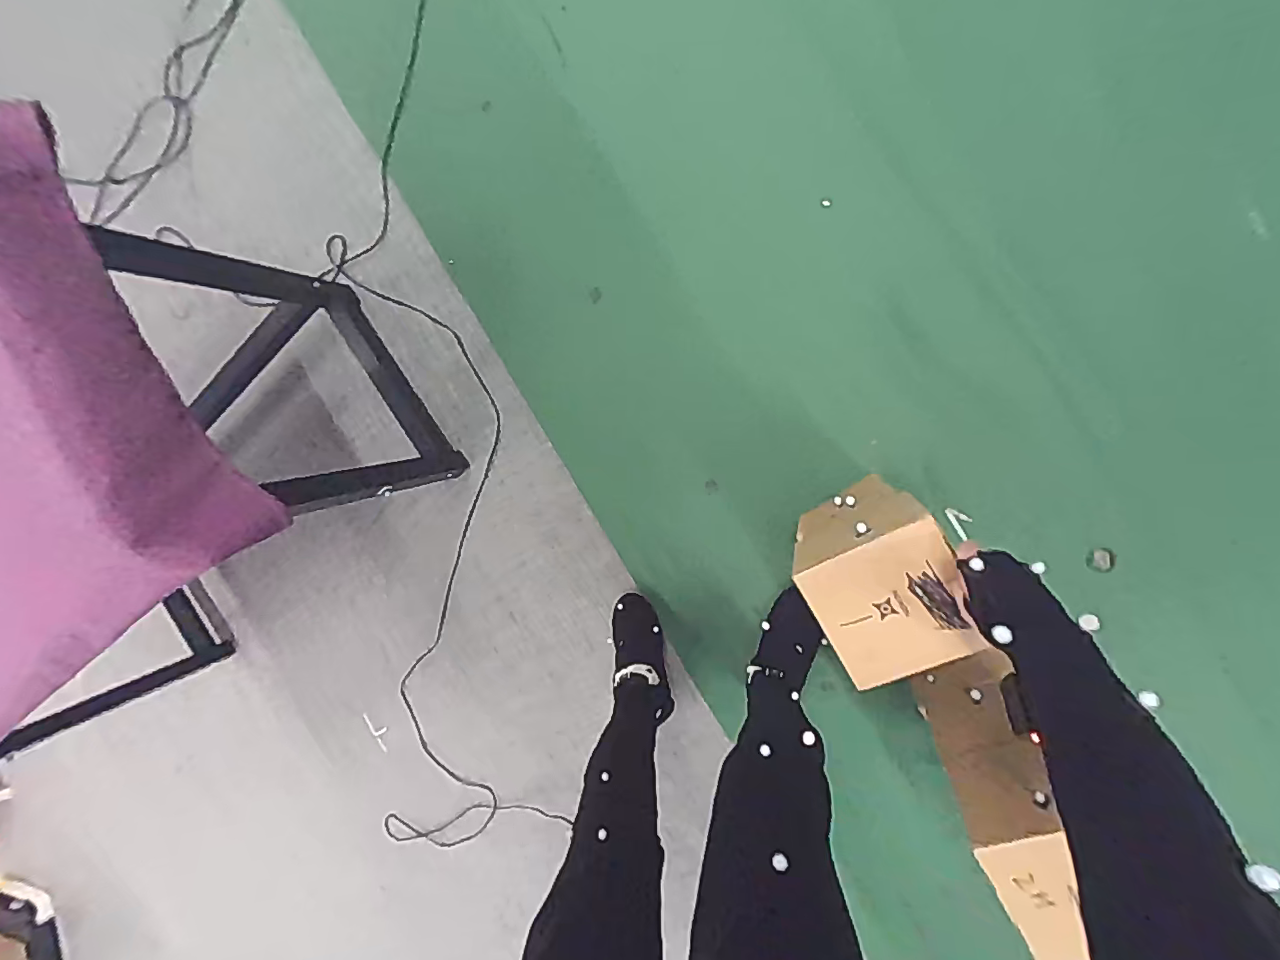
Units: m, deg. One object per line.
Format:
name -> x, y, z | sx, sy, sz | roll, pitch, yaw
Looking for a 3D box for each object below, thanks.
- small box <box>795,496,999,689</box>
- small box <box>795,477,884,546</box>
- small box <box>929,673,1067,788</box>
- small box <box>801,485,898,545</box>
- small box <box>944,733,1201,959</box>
small box -> 0.321, 0.136, 0.713 | 0.179, 0.176, 0.168 | -30, 88, 19
small box -> 0.416, 0.112, 1.025 | 0.179, 0.176, 0.168 | -34, 87, 19
small box -> 0.580, 0.436, 0.847 | 0.179, 0.176, 0.168 | -31, 89, 22
small box -> 0.379, 0.127, 0.867 | 0.168, 0.176, 0.179 | -34, 86, 18
small box -> 0.528, 0.458, 0.692 | 0.179, 0.176, 0.168 | -30, 89, 21
